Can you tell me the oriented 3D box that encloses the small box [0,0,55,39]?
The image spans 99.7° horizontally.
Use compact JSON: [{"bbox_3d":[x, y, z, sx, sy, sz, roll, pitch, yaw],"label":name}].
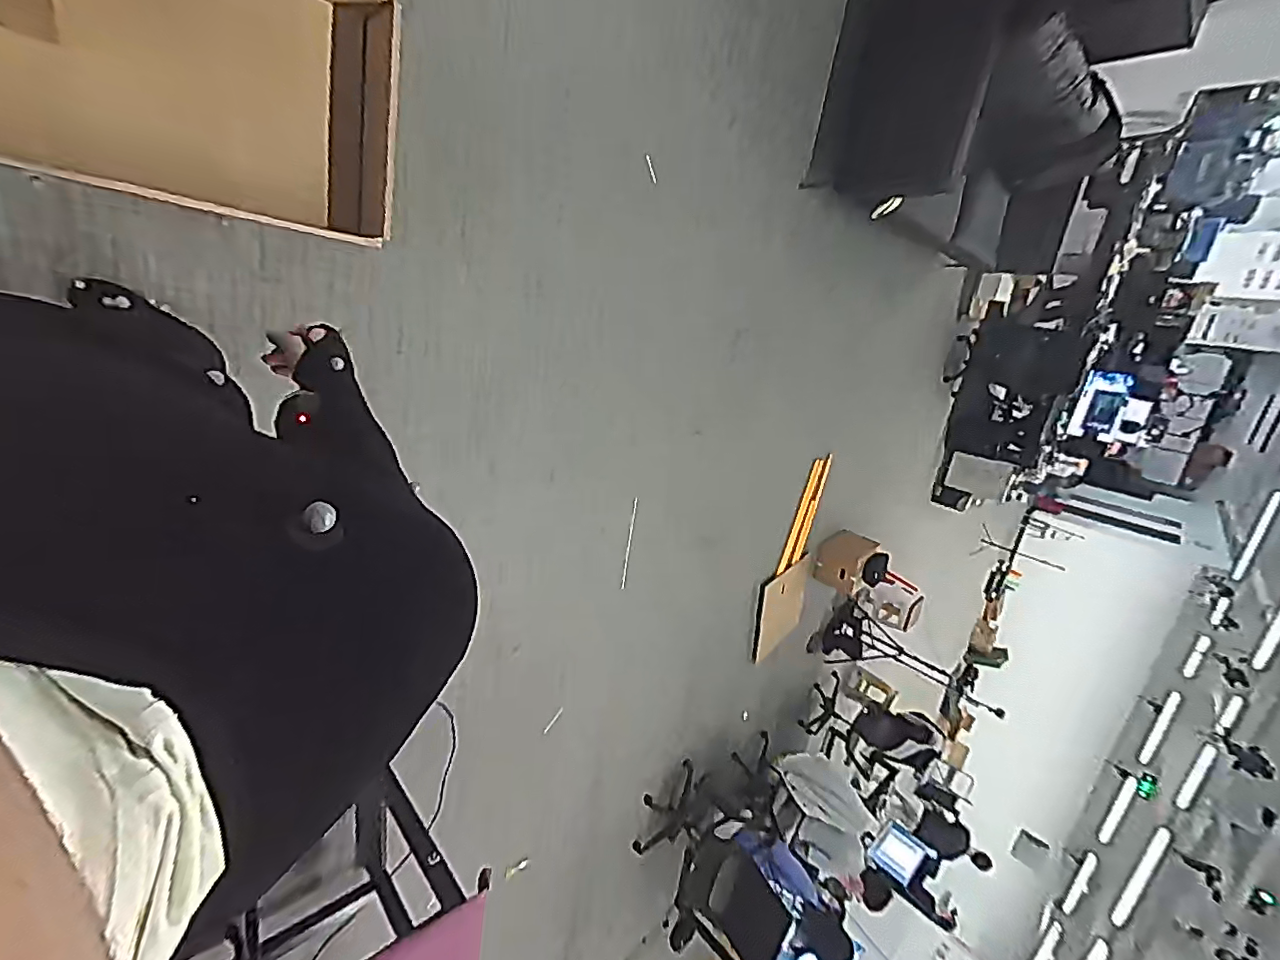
[{"bbox_3d":[-0.789,-0.656,0.613,0.168,0.176,0.179,-3,110,-46],"label":"small box"}]
